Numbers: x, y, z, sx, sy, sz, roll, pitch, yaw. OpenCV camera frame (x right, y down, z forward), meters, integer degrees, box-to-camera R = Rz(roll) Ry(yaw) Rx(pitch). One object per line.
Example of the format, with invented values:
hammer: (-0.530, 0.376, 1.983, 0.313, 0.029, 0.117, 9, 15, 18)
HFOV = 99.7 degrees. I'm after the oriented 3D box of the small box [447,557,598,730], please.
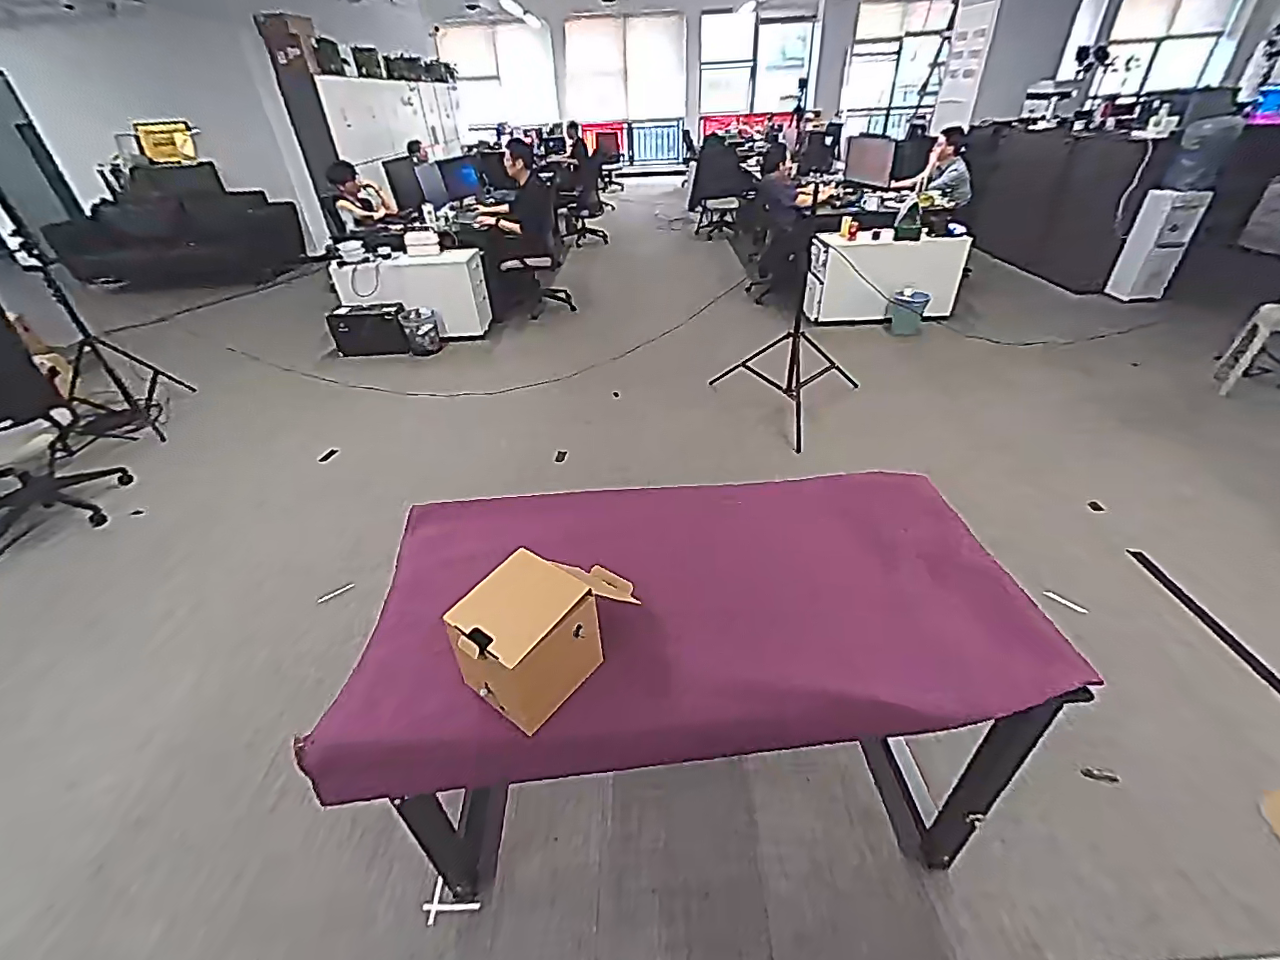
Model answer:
small box: (-0.183, 0.265, 0.892, 0.168, 0.176, 0.179, 21, 41, 32)
